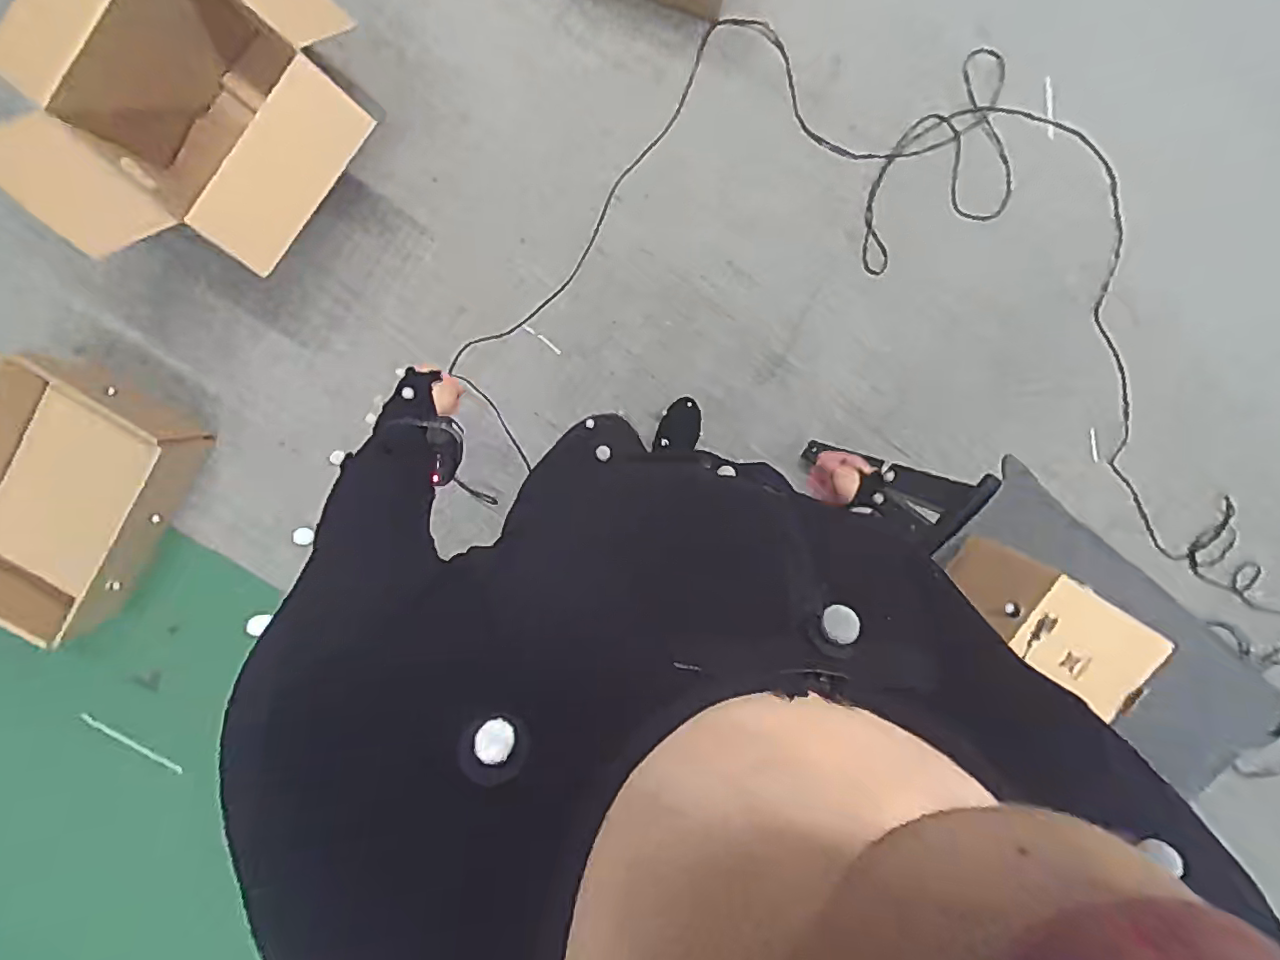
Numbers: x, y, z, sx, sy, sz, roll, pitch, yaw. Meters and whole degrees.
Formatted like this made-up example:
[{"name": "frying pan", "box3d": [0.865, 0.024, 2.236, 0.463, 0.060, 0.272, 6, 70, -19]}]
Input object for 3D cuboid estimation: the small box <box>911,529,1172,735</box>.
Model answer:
[{"name": "small box", "box3d": [0.507, 0.185, 0.711, 0.179, 0.176, 0.168, 30, 98, -6]}]
